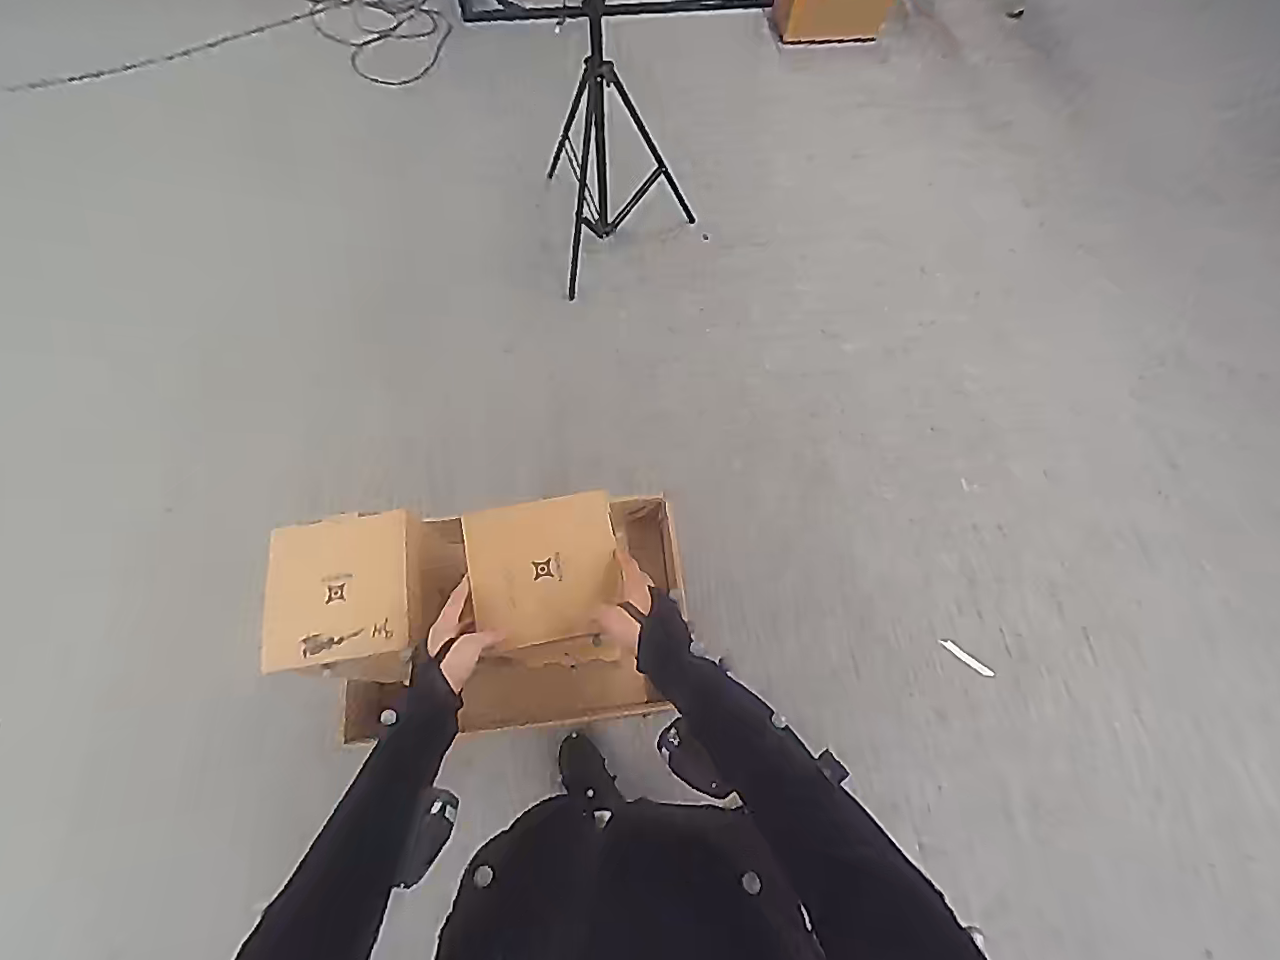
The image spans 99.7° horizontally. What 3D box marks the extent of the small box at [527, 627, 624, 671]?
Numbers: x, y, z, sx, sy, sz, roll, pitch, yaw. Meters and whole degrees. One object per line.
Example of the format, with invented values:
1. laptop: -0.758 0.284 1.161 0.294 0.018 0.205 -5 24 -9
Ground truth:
1. small box: -0.118 0.265 1.033 0.168 0.176 0.179 -4 69 -1

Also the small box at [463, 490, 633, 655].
1. small box: -0.116 0.124 0.699 0.179 0.176 0.168 -10 73 -9

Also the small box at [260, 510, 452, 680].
1. small box: -0.358 0.158 0.716 0.168 0.176 0.179 -9 67 -3

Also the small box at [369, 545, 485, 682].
1. small box: -0.353 0.220 0.870 0.168 0.176 0.179 -8 69 -4
